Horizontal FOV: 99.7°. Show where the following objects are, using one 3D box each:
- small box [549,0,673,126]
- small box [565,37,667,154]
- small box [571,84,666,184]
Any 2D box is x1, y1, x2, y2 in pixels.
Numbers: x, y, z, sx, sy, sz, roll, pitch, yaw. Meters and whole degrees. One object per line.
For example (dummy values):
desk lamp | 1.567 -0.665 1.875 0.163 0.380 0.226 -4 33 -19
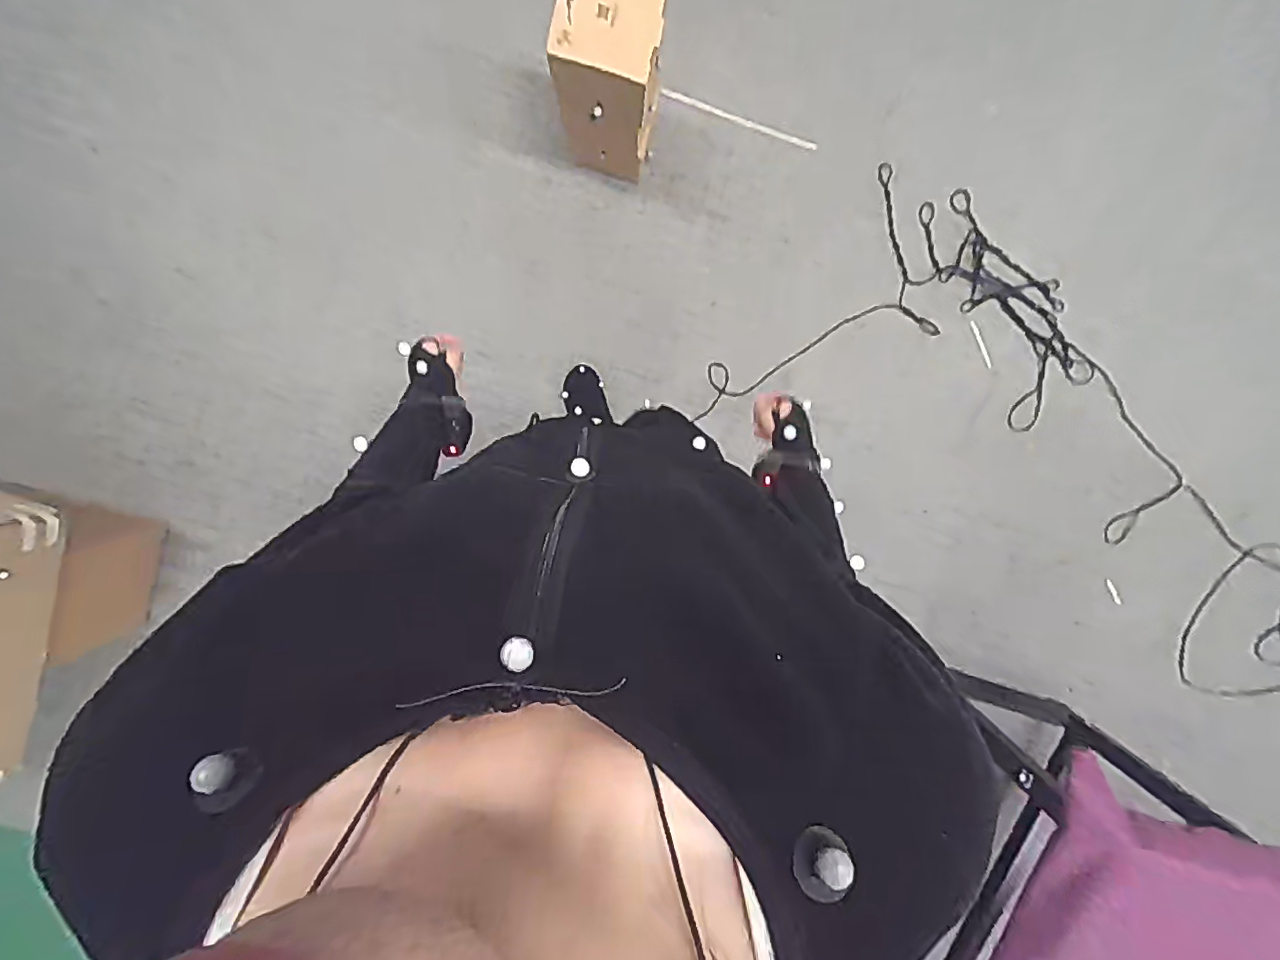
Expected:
small box | -0.050 -0.768 0.960 0.179 0.176 0.168 15 99 -5
small box | -0.056 -0.811 1.118 0.179 0.176 0.168 17 99 -5
small box | -0.052 -0.835 1.281 0.179 0.176 0.168 16 99 -5
